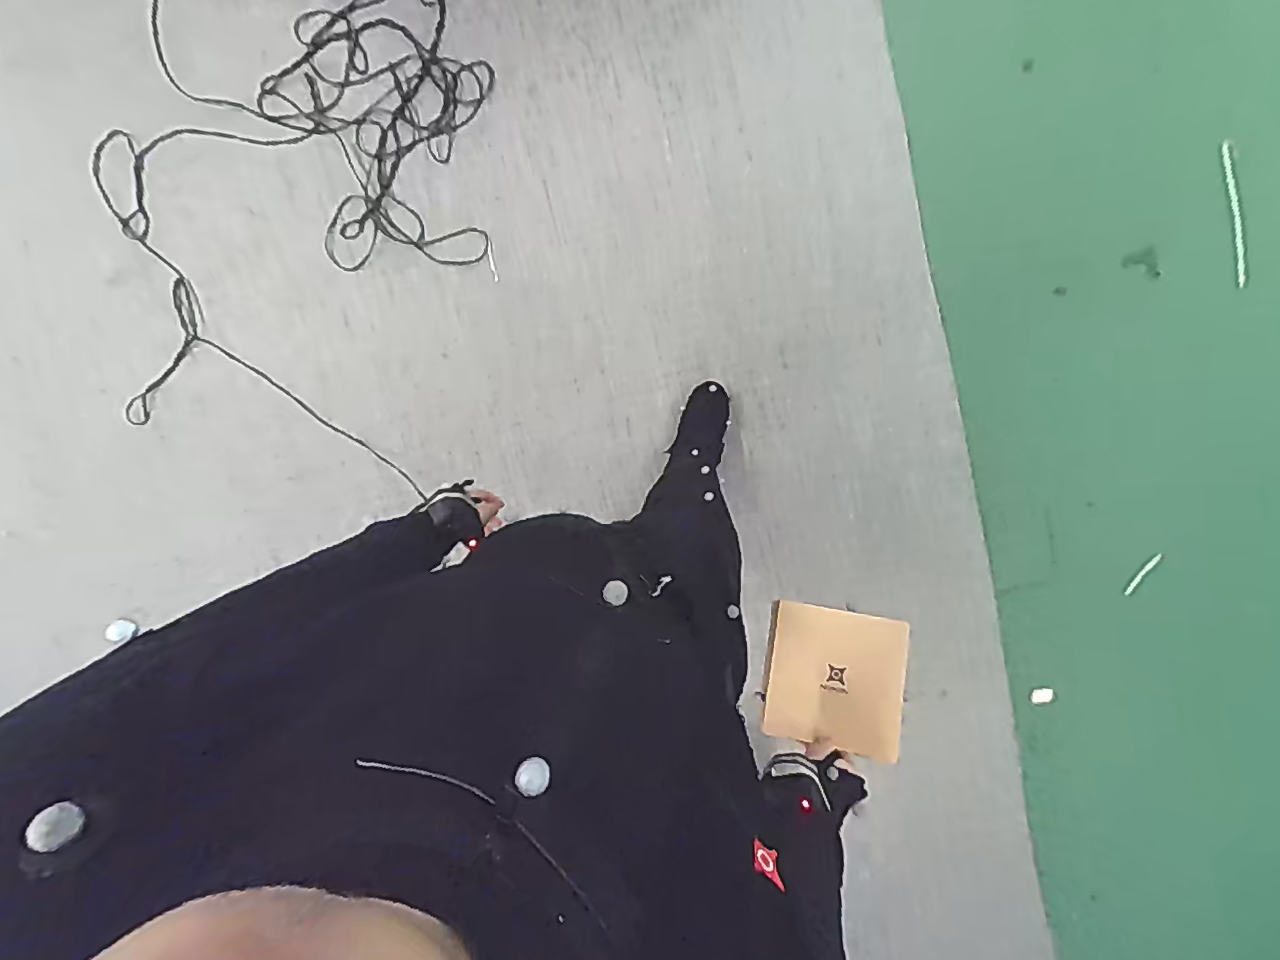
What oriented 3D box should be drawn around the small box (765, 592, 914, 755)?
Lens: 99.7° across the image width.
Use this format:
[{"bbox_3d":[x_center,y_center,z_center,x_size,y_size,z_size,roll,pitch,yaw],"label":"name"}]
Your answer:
[{"bbox_3d":[0.272,0.259,0.769,0.168,0.176,0.179,7,81,12],"label":"small box"}]
